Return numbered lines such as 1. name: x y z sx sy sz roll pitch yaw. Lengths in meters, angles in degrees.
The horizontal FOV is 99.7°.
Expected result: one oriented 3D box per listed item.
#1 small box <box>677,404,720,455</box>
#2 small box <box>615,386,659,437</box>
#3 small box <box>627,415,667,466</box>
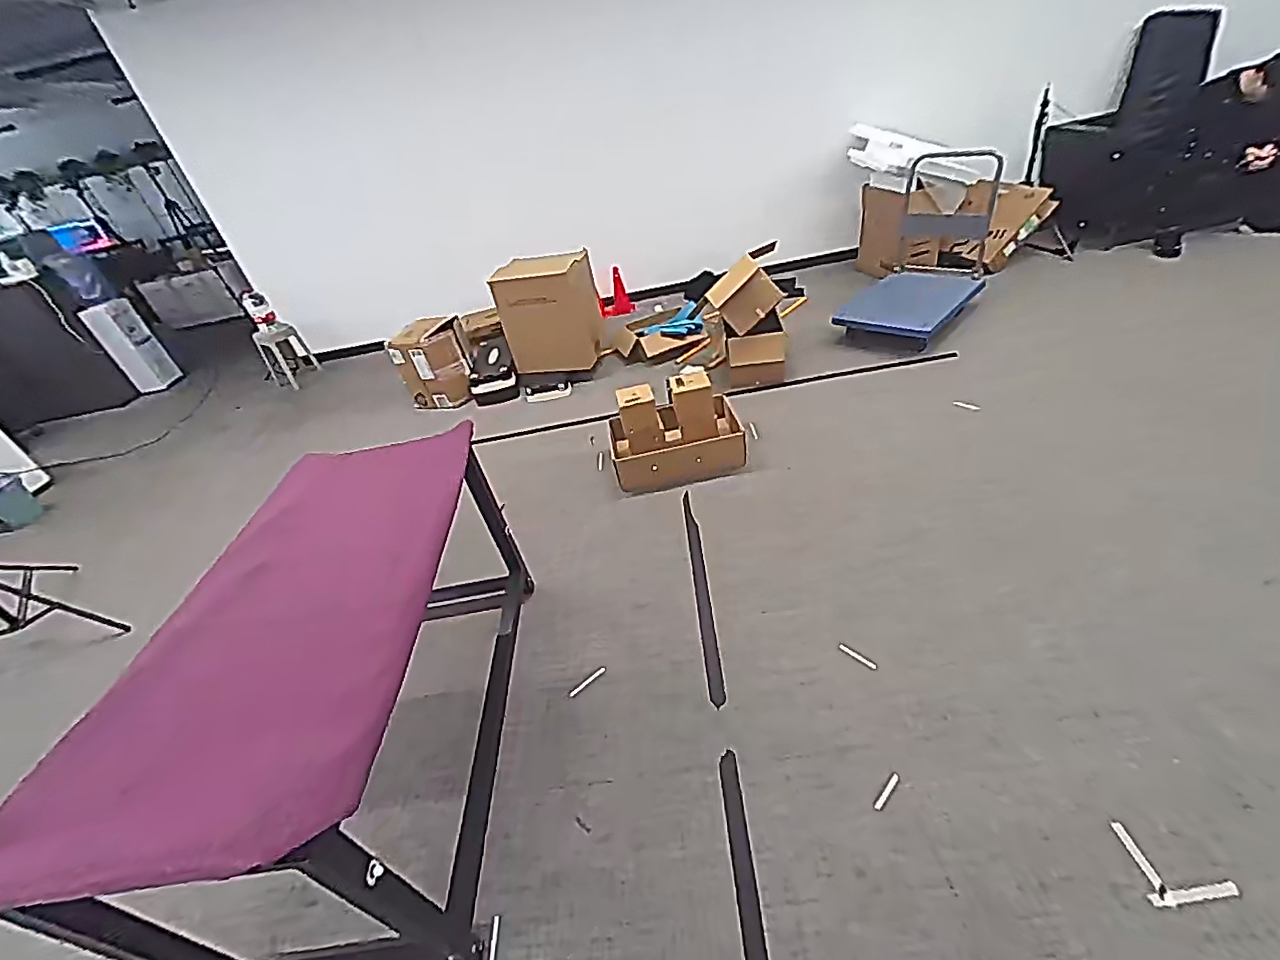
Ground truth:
1. small box: 0.285 -0.246 2.640 0.168 0.176 0.179 -13 36 1
2. small box: -0.012 -0.316 2.538 0.168 0.176 0.179 -12 35 -2
3. small box: 0.031 -0.192 2.640 0.179 0.176 0.168 -12 35 -2
